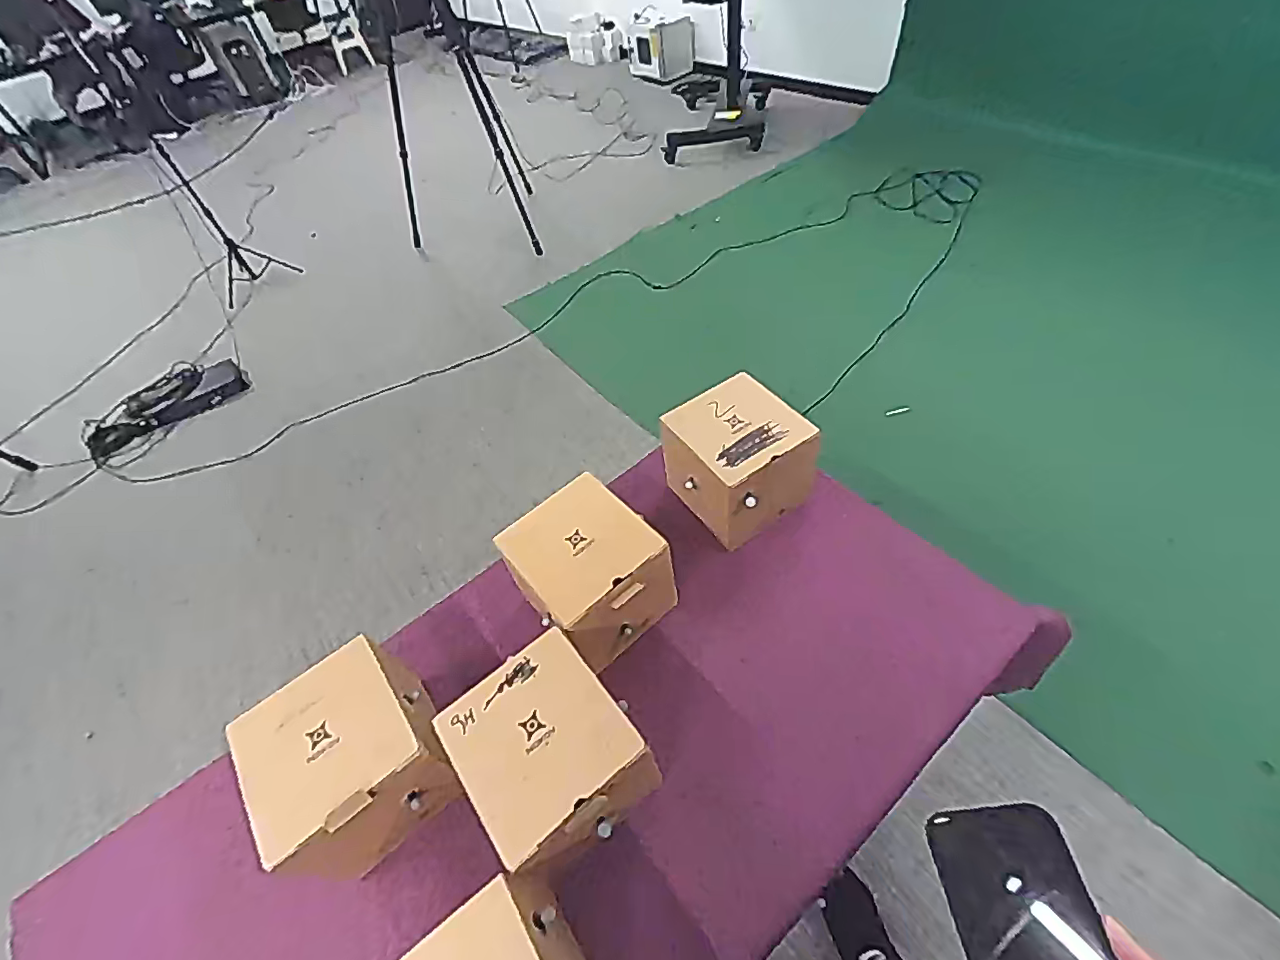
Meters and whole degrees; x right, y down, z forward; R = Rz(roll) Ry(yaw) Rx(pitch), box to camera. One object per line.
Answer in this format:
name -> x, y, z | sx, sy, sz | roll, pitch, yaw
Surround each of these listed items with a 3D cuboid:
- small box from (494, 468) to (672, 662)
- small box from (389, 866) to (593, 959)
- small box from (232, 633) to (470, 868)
small box -> -0.073, 0.123, 0.766 | 0.168, 0.176, 0.179 | -38, 57, -20
small box -> -0.128, 0.491, 0.480 | 0.168, 0.176, 0.179 | -34, 54, -16
small box -> -0.333, 0.325, 0.648 | 0.168, 0.176, 0.179 | -35, 55, -19
